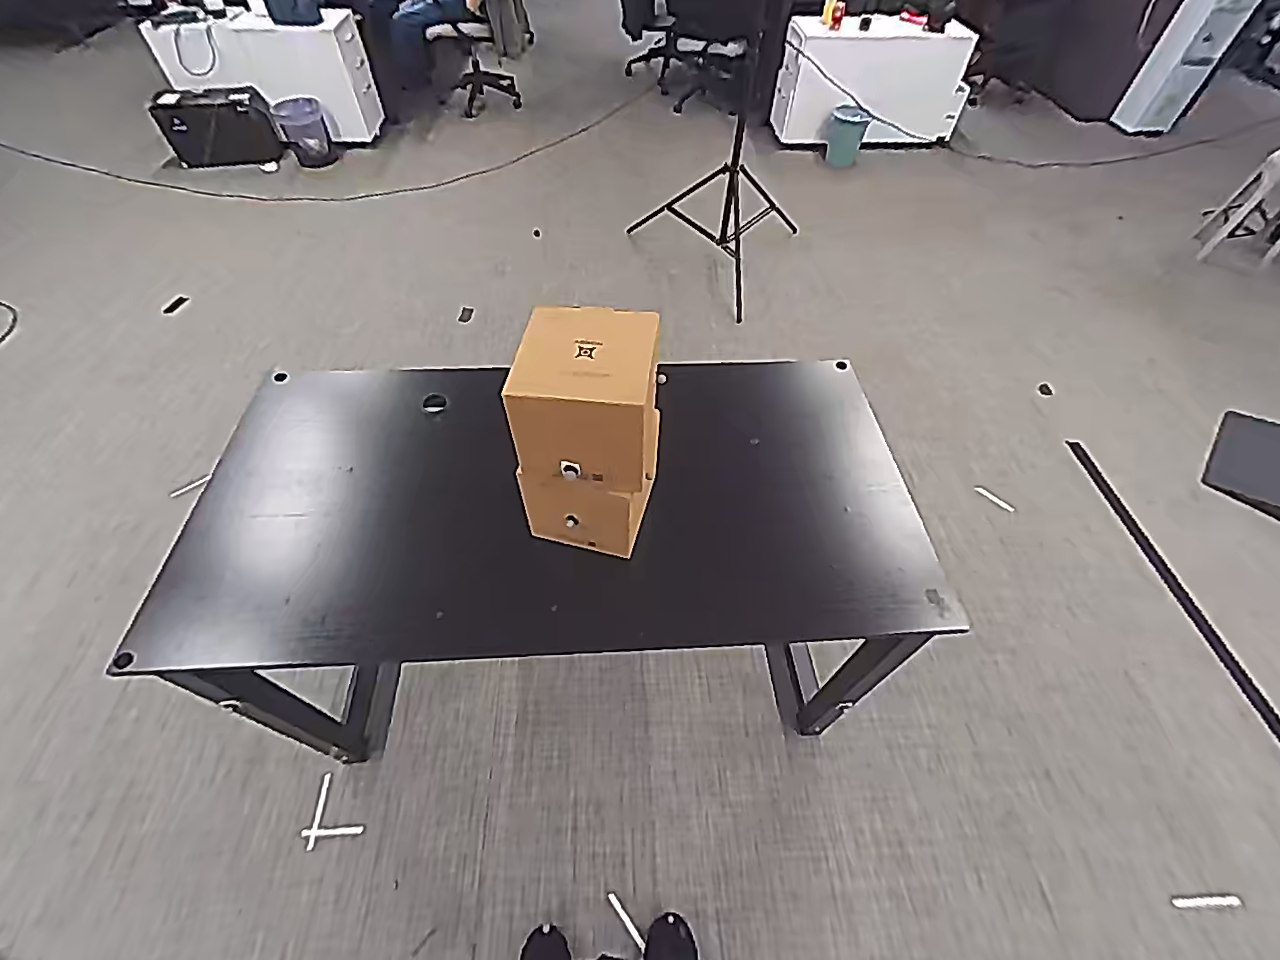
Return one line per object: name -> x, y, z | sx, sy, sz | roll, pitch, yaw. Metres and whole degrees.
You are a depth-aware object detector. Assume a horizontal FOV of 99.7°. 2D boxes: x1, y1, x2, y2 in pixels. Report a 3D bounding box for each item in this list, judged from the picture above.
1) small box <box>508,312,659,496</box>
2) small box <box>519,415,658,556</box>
small box -> -0.065, -0.101, 0.729 | 0.168, 0.176, 0.179 | 4, 53, 3
small box -> -0.072, -0.003, 0.859 | 0.168, 0.176, 0.179 | 13, 52, 8
